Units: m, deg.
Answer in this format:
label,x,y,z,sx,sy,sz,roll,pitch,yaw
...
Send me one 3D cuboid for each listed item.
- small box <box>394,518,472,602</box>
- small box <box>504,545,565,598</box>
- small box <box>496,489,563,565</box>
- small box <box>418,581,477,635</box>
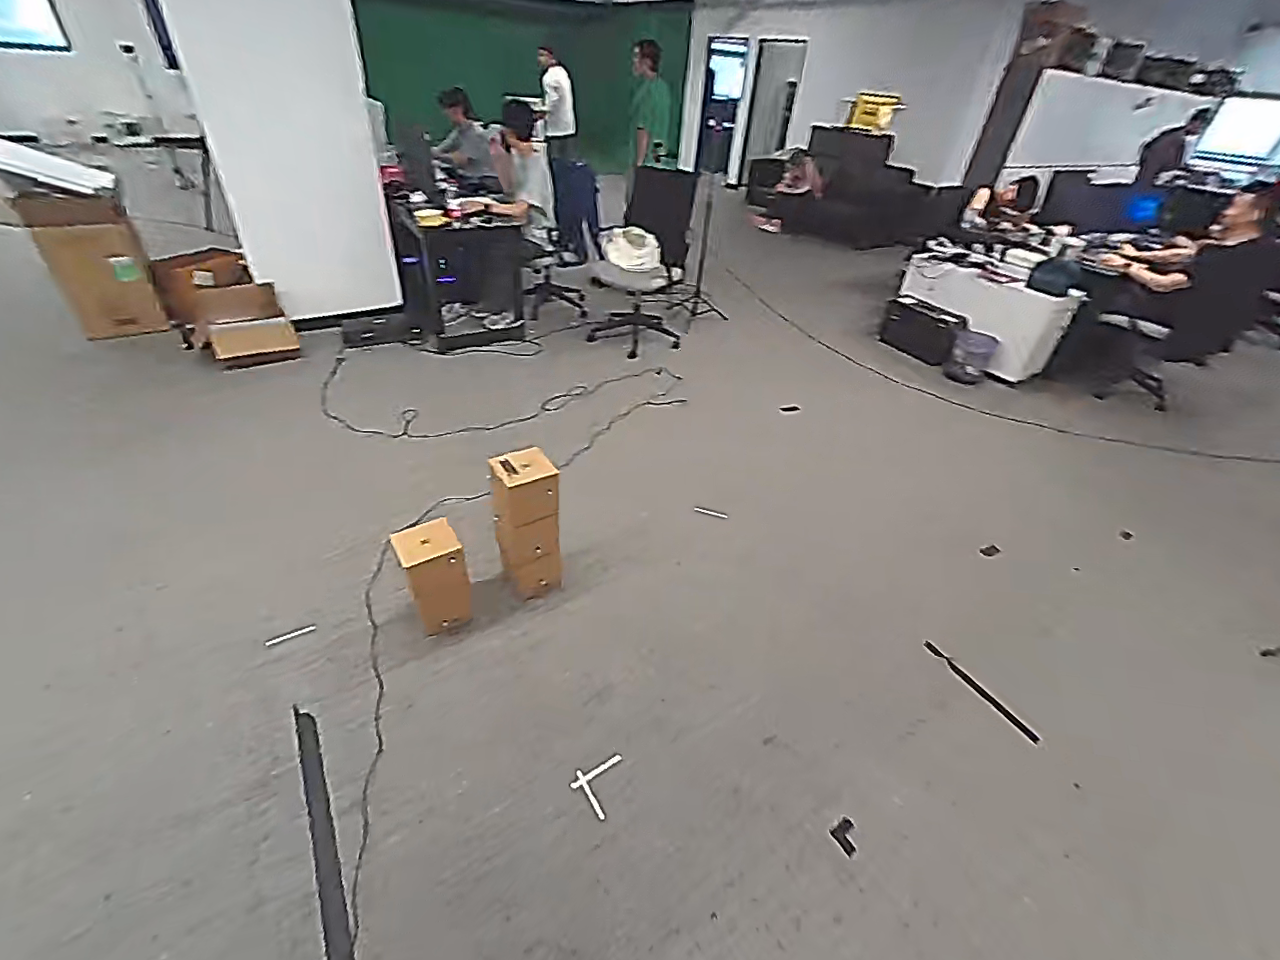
label,x,y,z,sx,sy,sz,roll,pitch,yaw
small box,-0.650,0.255,1.709,0.179,0.176,0.168,-20,44,-29
small box,-0.386,0.292,1.960,0.168,0.176,0.179,-19,44,-29
small box,-0.379,0.162,1.859,0.179,0.176,0.168,-19,43,-30
small box,-0.656,0.381,1.811,0.168,0.176,0.179,-17,43,-26
